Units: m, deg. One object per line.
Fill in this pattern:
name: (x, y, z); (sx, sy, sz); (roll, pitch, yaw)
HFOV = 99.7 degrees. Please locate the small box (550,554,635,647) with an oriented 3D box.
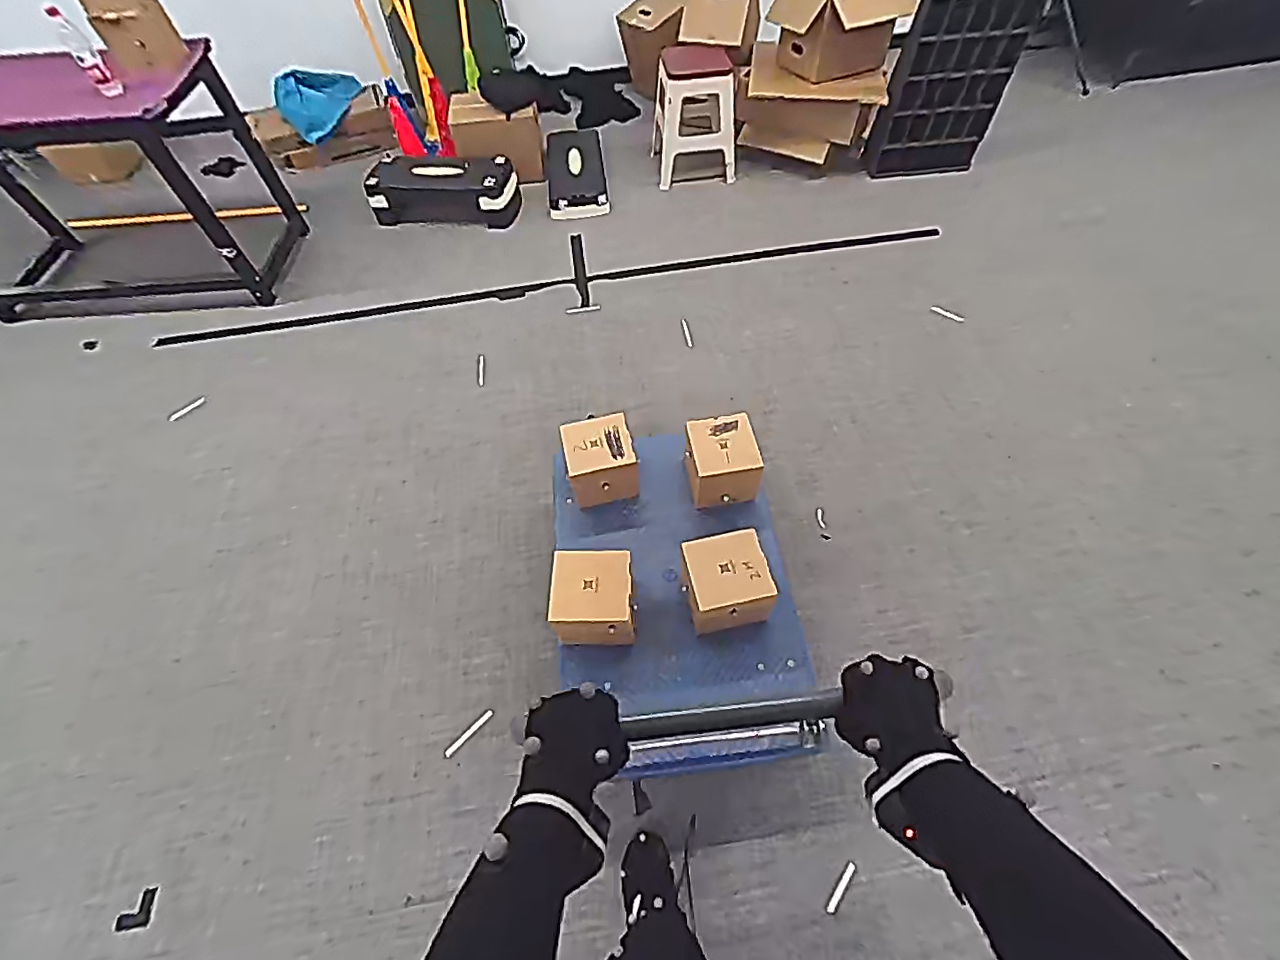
small box: (-0.103, 0.283, 1.253); (0.179, 0.176, 0.168); (0, 57, 1)

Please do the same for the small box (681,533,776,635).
small box: (0.199, 0.247, 1.259); (0.179, 0.176, 0.168); (-11, 57, -4)

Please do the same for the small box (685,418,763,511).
small box: (0.216, -0.039, 1.442); (0.168, 0.176, 0.179); (-9, 58, -3)
